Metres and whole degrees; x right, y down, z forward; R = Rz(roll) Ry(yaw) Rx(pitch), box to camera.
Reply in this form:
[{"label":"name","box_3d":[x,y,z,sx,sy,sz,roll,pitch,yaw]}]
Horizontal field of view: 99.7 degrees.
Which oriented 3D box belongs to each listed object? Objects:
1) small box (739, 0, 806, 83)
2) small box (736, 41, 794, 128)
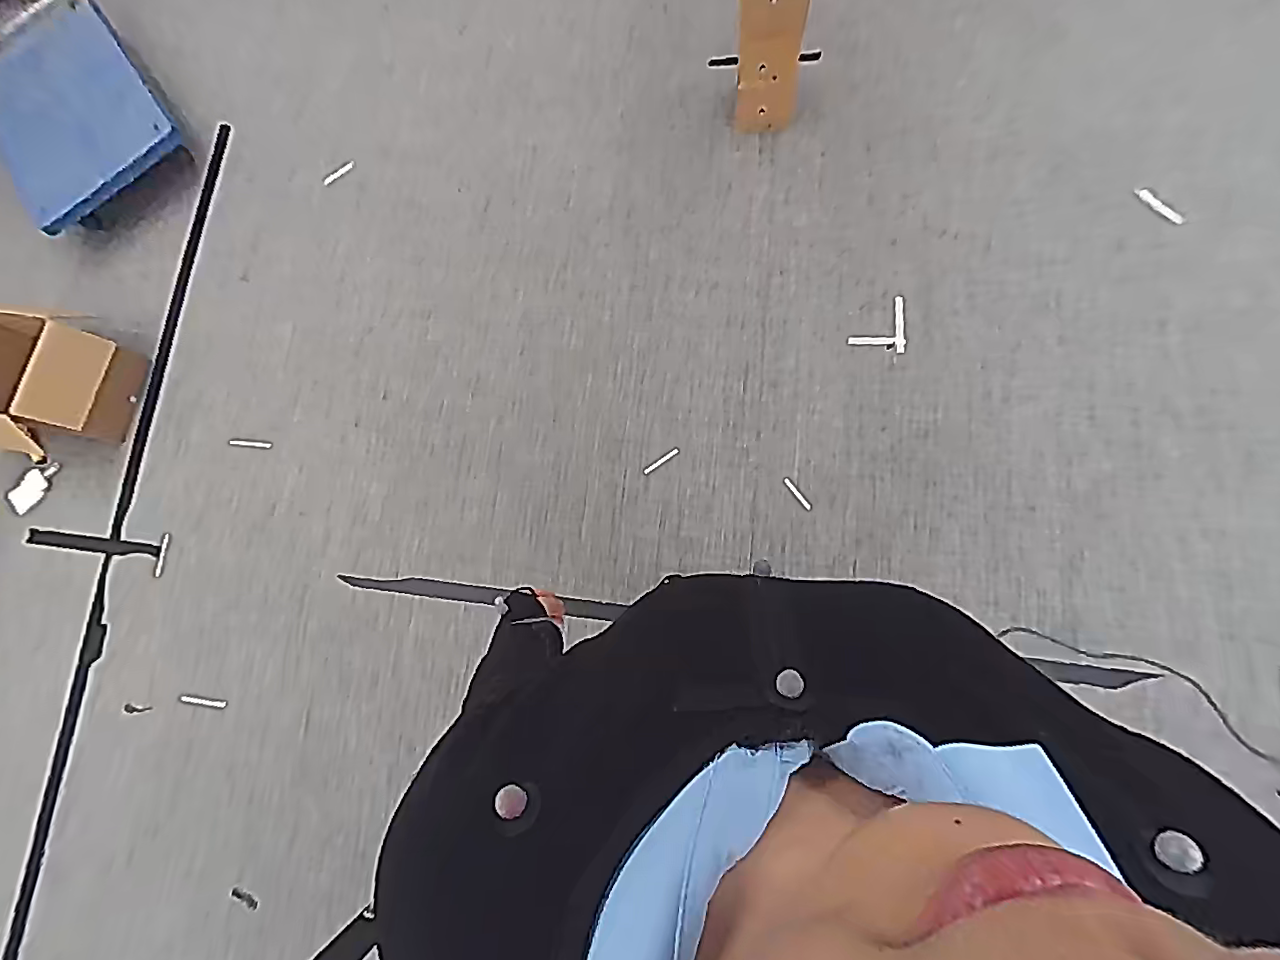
[{"label":"small box","box_3d":[0.370,-1.262,1.518,0.168,0.176,0.179,4,81,9]},{"label":"small box","box_3d":[0.388,-1.223,1.675,0.168,0.176,0.179,2,79,8]}]
